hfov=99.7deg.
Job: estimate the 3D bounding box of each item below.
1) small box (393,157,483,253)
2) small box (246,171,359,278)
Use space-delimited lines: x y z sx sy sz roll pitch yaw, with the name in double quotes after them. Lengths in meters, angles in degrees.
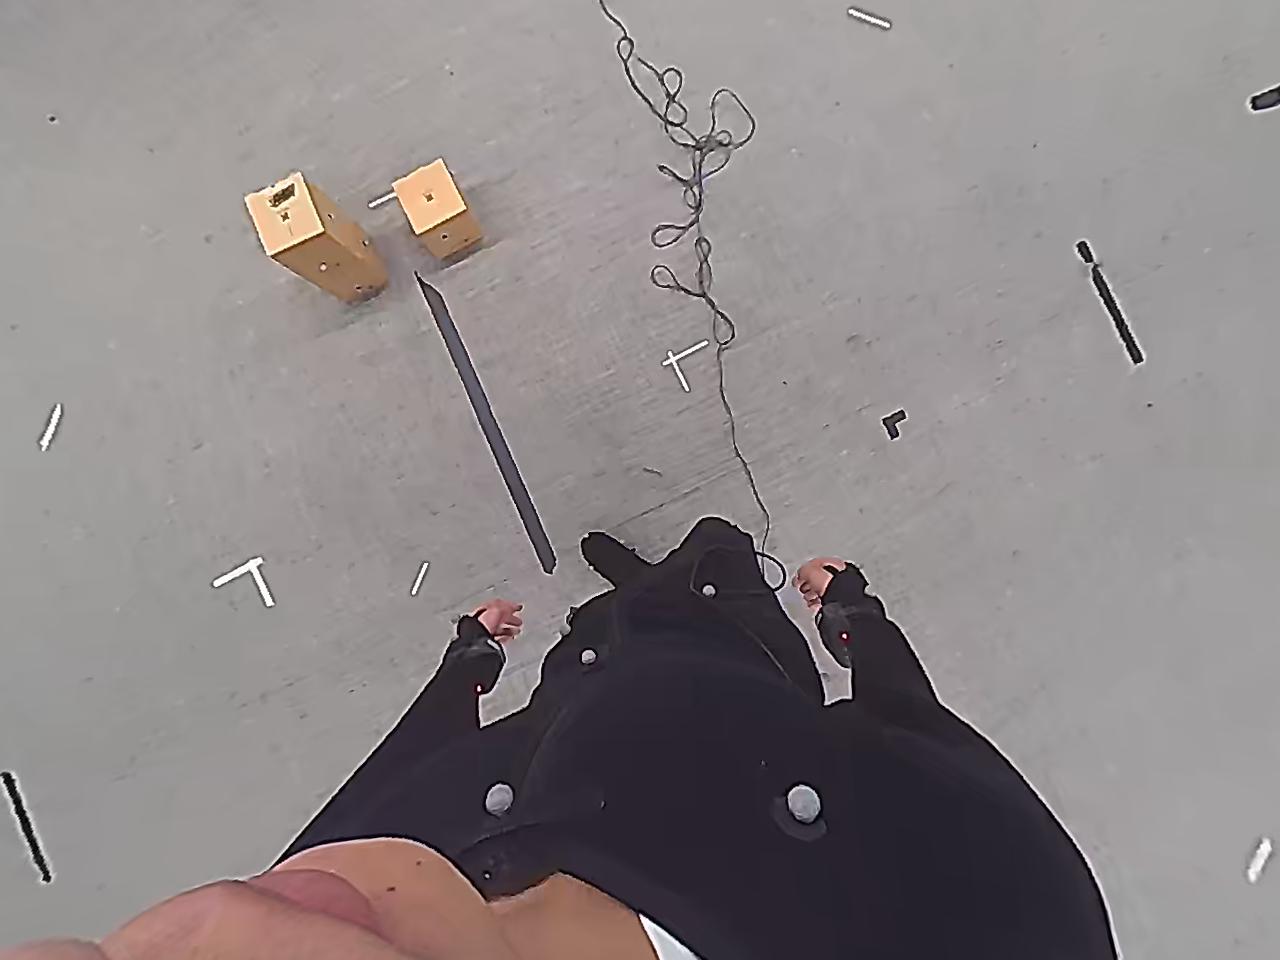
-0.600 -0.815 1.629 0.168 0.176 0.179 -27 86 1 "small box"
-0.909 -0.687 1.471 0.168 0.176 0.179 -23 87 2 "small box"
